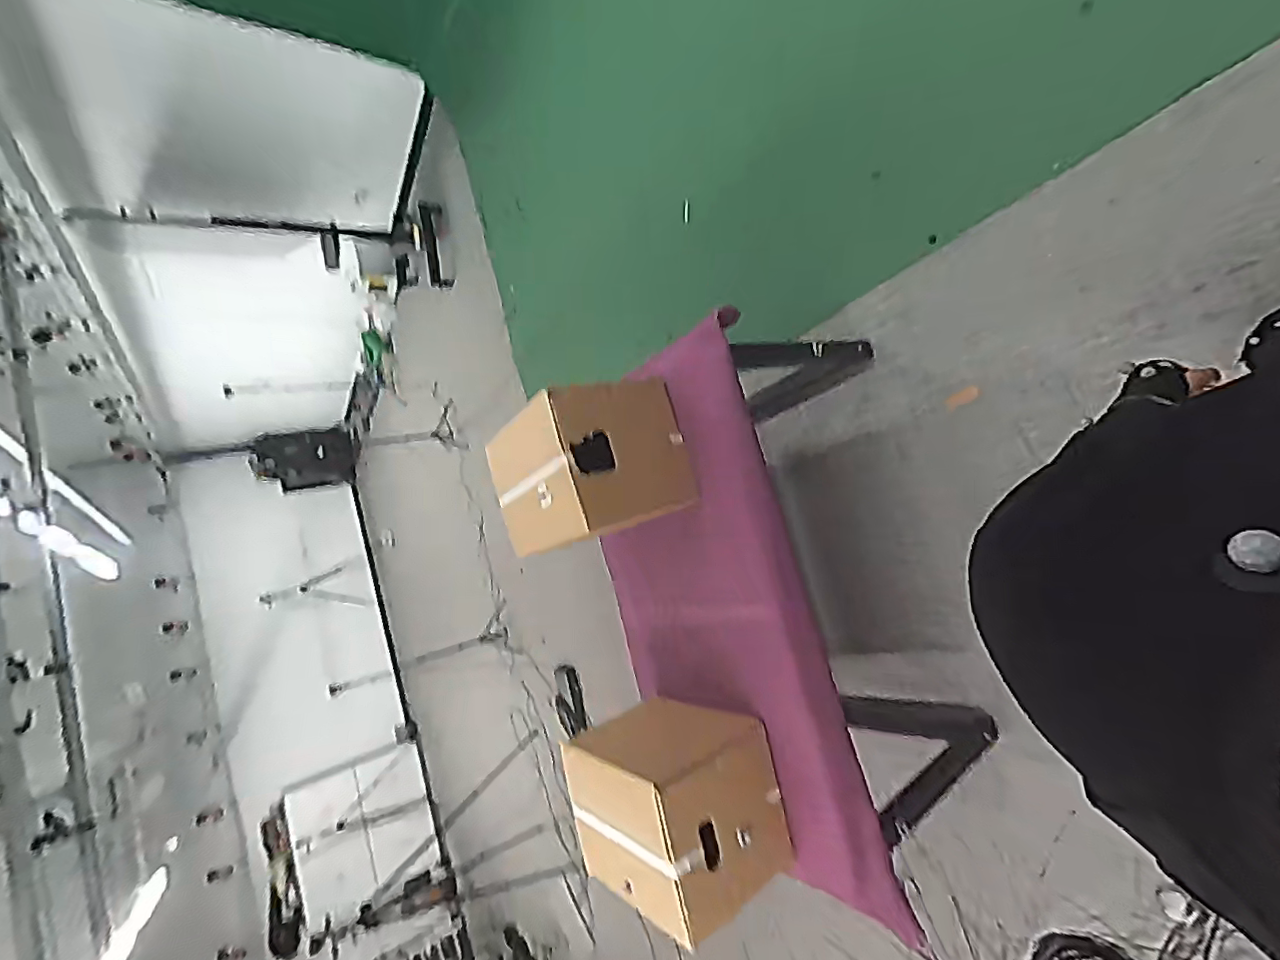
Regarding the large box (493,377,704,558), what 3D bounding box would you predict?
[{"bbox_3d":[-0.116,-0.024,1.320,0.408,0.320,0.320,-26,80,53],"label":"large box"}]
